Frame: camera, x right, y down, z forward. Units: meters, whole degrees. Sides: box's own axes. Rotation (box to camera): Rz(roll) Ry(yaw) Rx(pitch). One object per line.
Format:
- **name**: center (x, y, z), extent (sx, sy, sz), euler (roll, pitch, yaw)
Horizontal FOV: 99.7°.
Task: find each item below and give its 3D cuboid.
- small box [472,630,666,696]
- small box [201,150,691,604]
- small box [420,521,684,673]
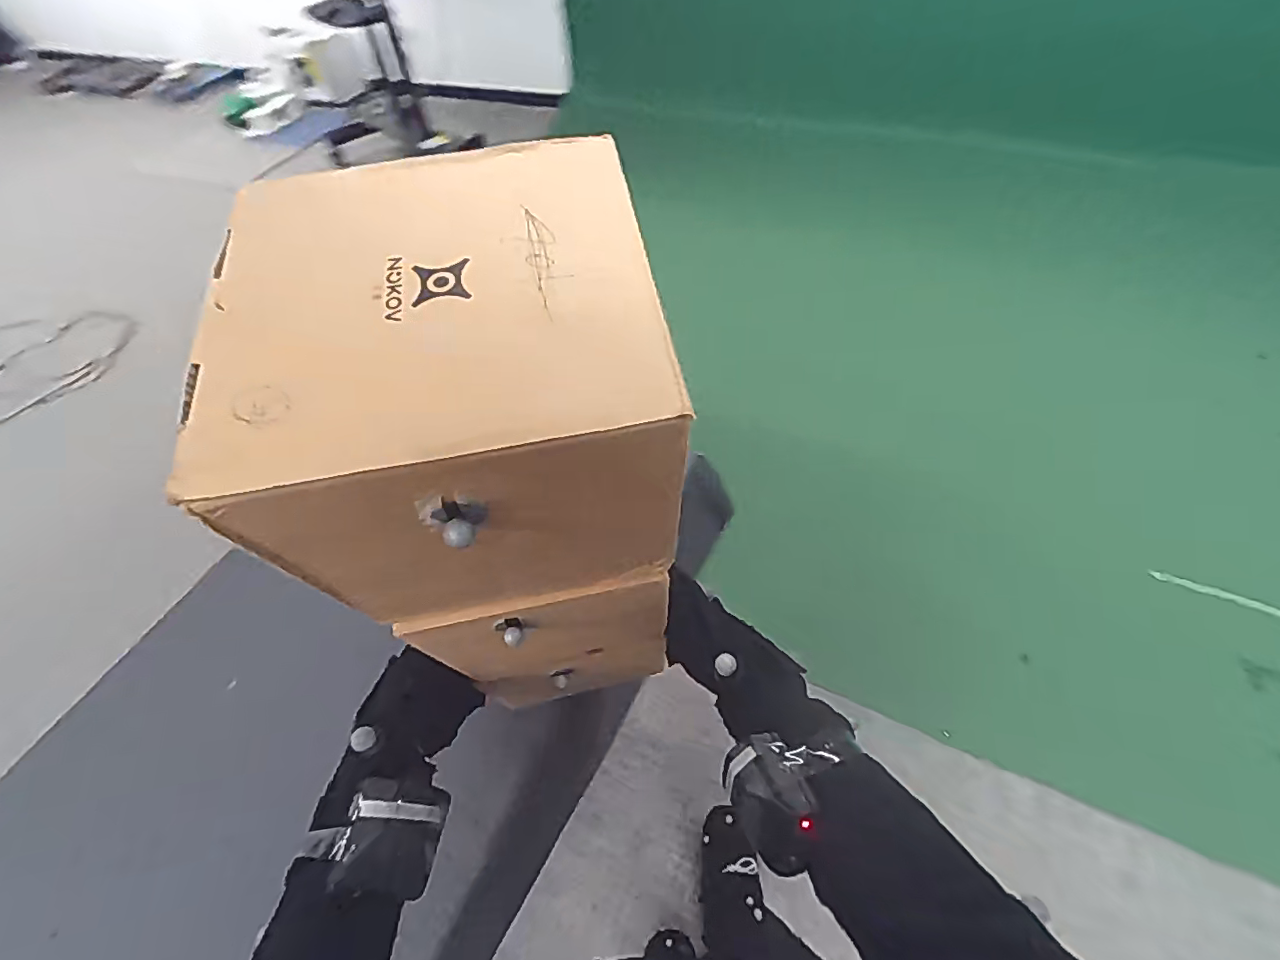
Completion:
- **small box**: center (-0.071, 0.120, 0.578), extent (0.179, 0.176, 0.168), euler (-11, 61, -5)
- **small box**: center (-0.077, -0.042, 0.296), extent (0.179, 0.176, 0.168), euler (-9, 63, -5)
- **small box**: center (-0.070, 0.039, 0.440), extent (0.168, 0.176, 0.179), euler (-12, 62, -6)
